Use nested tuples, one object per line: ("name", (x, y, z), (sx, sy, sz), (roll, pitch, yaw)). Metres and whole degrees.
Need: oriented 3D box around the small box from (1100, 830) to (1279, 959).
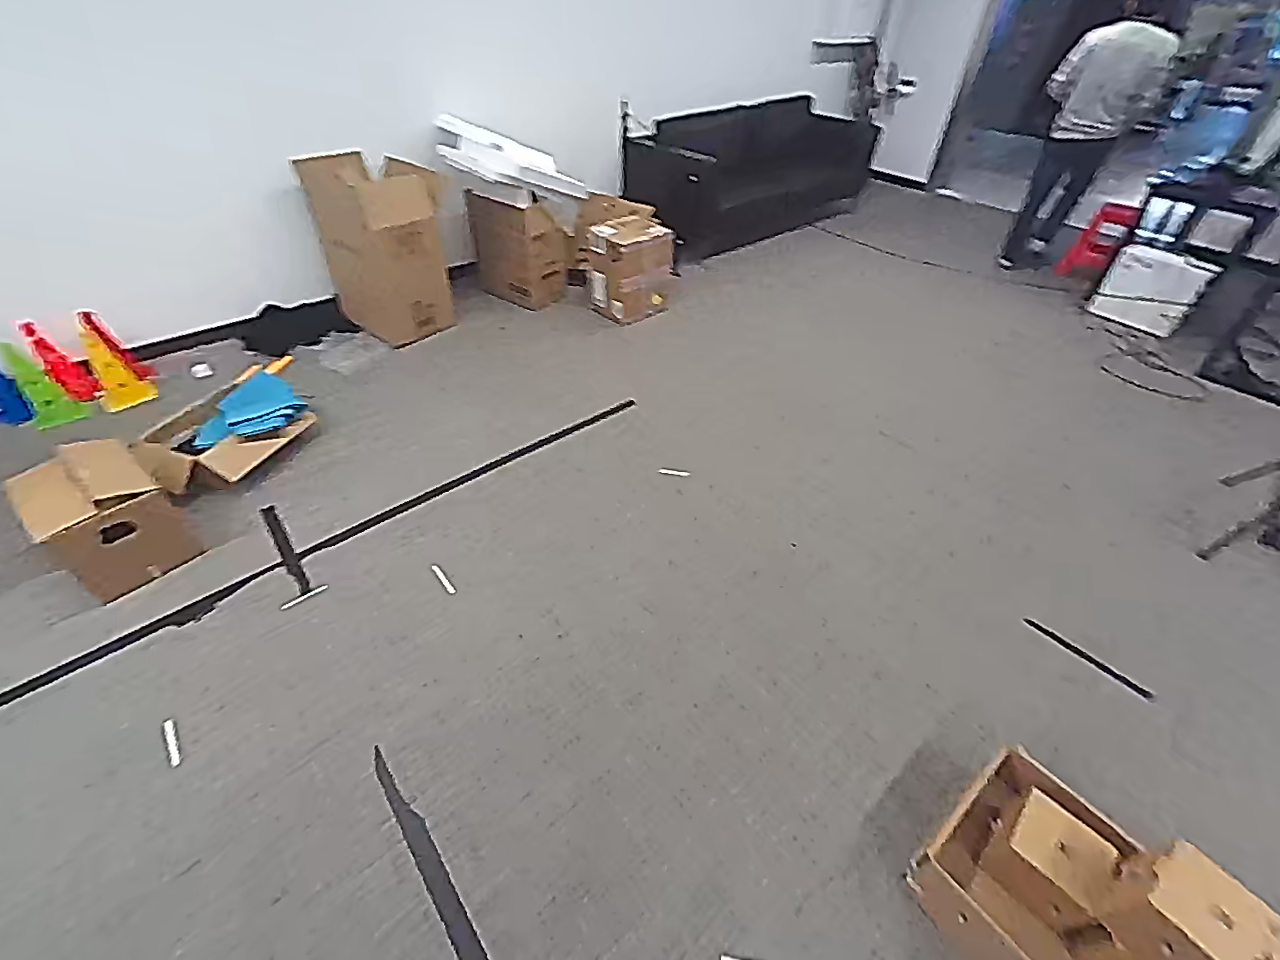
("small box", (1.017, 0.806, 1.003), (0.168, 0.176, 0.179), (-26, 48, -25))
